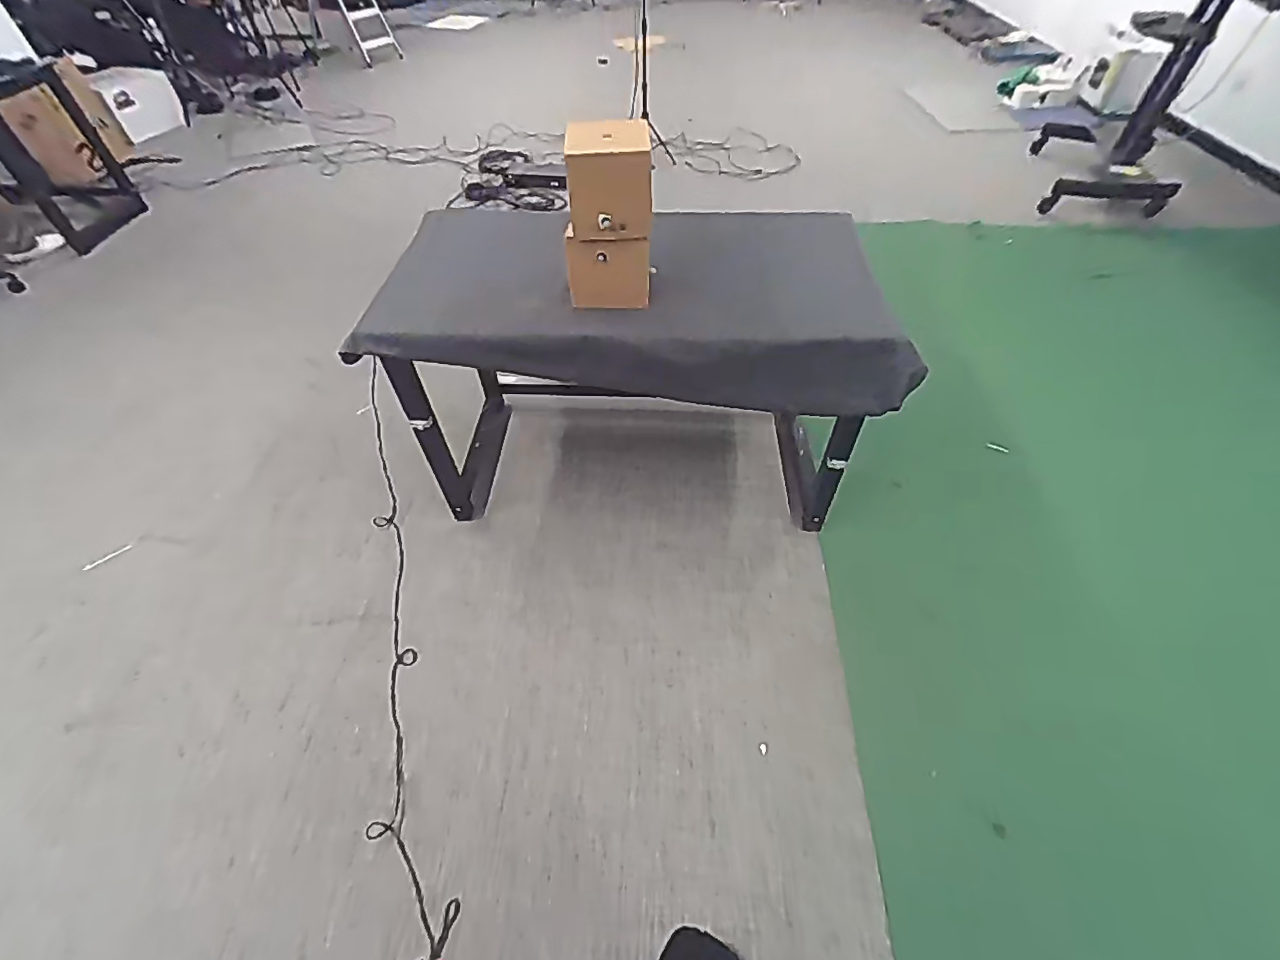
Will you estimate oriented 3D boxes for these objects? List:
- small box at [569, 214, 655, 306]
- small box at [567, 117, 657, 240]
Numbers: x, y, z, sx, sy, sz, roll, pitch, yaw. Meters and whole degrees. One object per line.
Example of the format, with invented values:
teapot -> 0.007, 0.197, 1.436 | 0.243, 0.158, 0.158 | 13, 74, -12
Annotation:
small box -> -0.057, -0.511, 1.229 | 0.179, 0.176, 0.168 | 1, 50, 2
small box -> -0.052, -0.612, 1.102 | 0.168, 0.176, 0.179 | -4, 51, 1
